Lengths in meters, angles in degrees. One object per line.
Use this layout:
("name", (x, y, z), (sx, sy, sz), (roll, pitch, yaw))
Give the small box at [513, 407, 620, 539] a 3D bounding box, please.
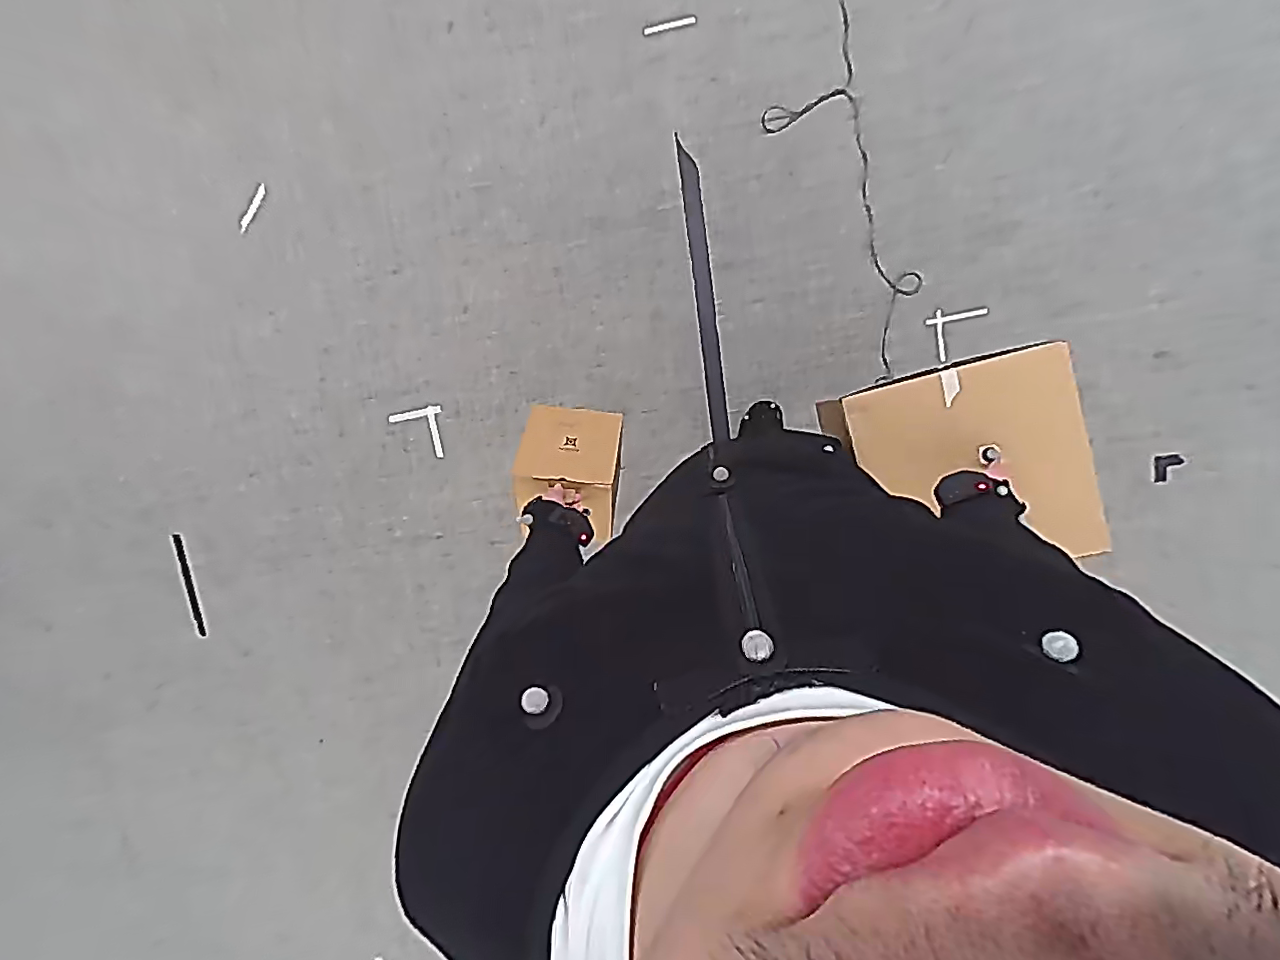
("small box", (-0.127, -0.009, 0.999), (0.168, 0.179, 0.176), (6, 138, -1))
